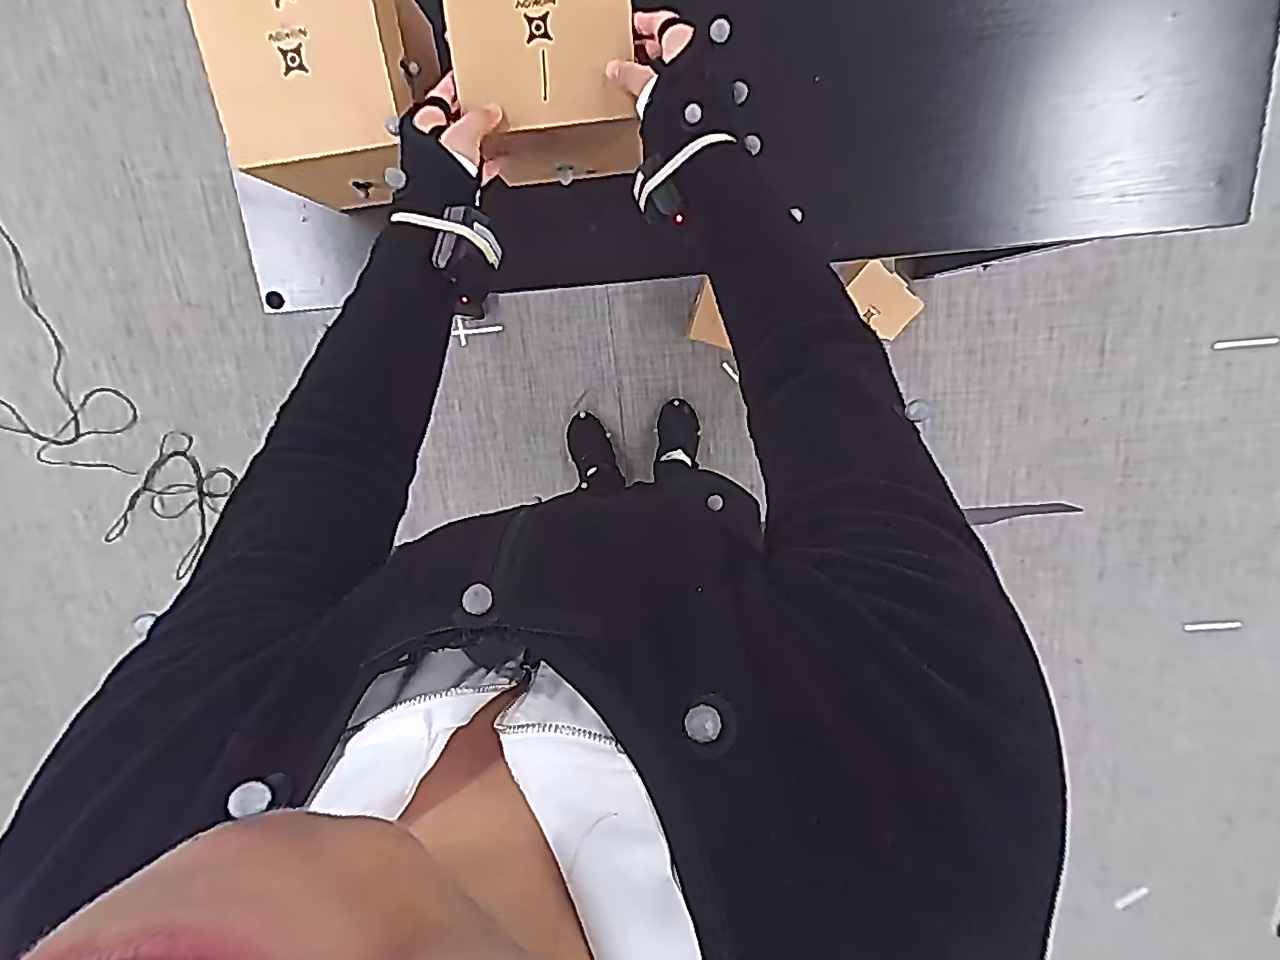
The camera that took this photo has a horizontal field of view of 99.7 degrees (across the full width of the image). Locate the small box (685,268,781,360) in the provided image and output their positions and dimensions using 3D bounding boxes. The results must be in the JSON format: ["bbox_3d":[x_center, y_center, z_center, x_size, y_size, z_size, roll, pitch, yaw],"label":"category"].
[{"bbox_3d":[0.215,-0.397,1.306,0.179,0.176,0.168,16,104,-2],"label":"small box"}]

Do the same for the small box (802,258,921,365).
[{"bbox_3d":[0.519,-0.399,1.295,0.168,0.176,0.179,38,102,-8],"label":"small box"}]

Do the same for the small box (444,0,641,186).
[{"bbox_3d":[-0.088,-0.424,0.551,0.168,0.176,0.179,-5,105,3],"label":"small box"}]
